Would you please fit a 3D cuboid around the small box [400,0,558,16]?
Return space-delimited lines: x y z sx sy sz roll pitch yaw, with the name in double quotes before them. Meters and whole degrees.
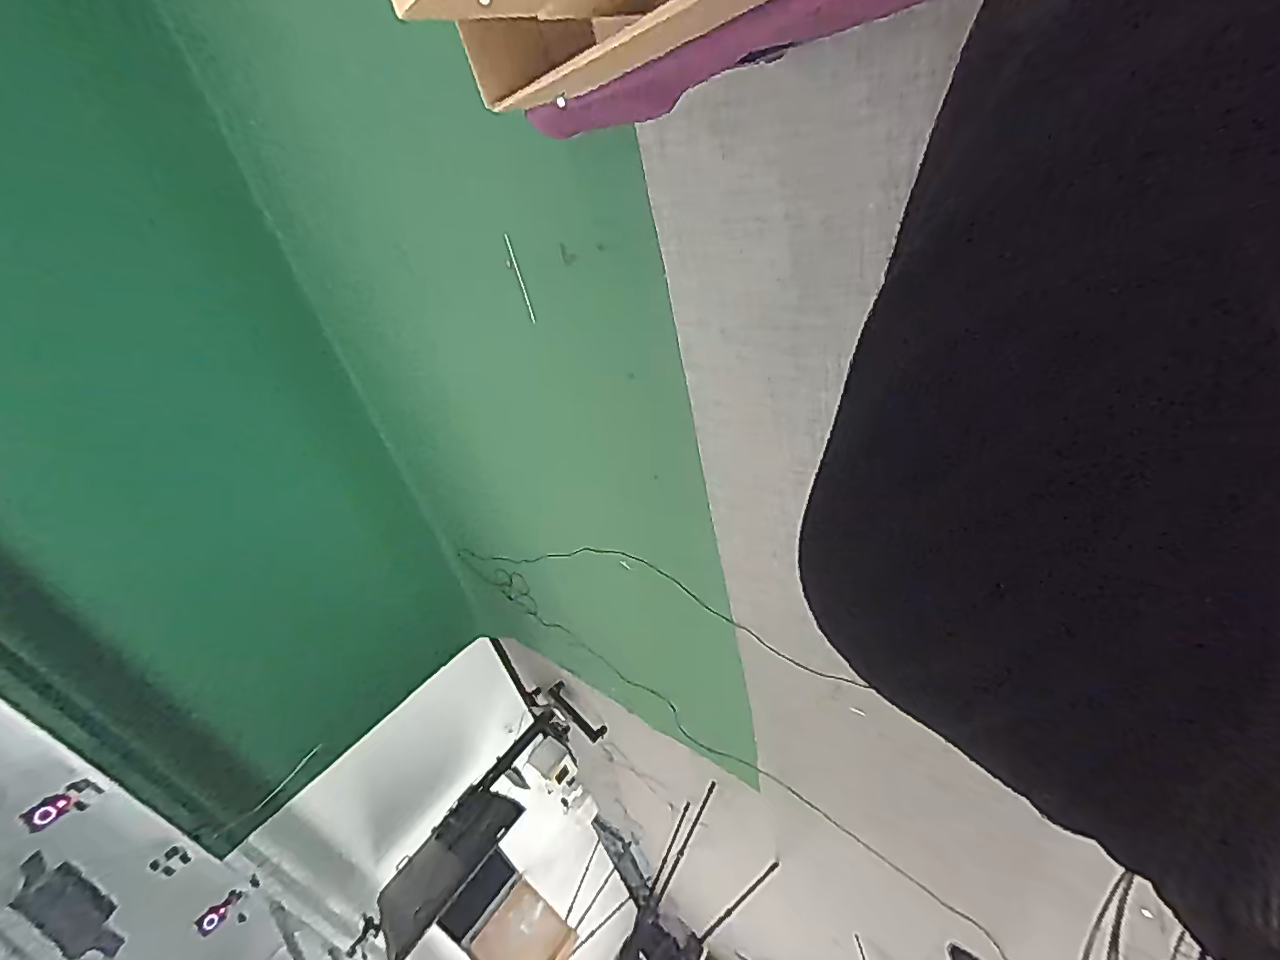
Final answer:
"small box" -0.120 -0.521 0.450 0.179 0.176 0.168 12 130 41
